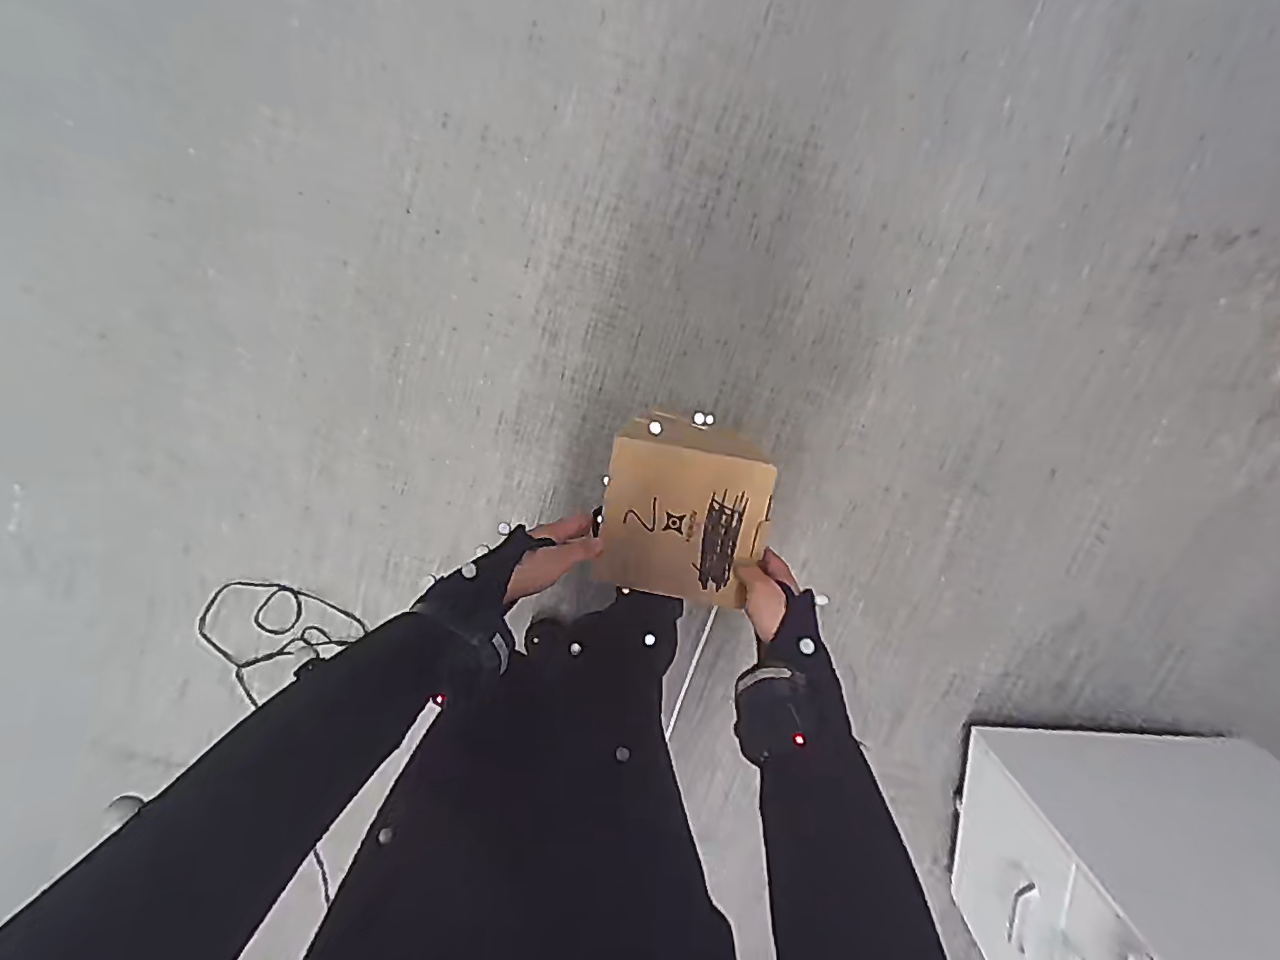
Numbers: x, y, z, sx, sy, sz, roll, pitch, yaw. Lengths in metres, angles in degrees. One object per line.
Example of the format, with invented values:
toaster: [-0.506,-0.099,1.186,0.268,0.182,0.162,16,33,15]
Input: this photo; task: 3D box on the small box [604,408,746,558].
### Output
small box: [0.051,-0.005,0.826,0.168,0.176,0.179,13,101,0]

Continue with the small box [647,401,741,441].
small box: [0.074,-0.035,0.985,0.168,0.176,0.179,16,103,1]
